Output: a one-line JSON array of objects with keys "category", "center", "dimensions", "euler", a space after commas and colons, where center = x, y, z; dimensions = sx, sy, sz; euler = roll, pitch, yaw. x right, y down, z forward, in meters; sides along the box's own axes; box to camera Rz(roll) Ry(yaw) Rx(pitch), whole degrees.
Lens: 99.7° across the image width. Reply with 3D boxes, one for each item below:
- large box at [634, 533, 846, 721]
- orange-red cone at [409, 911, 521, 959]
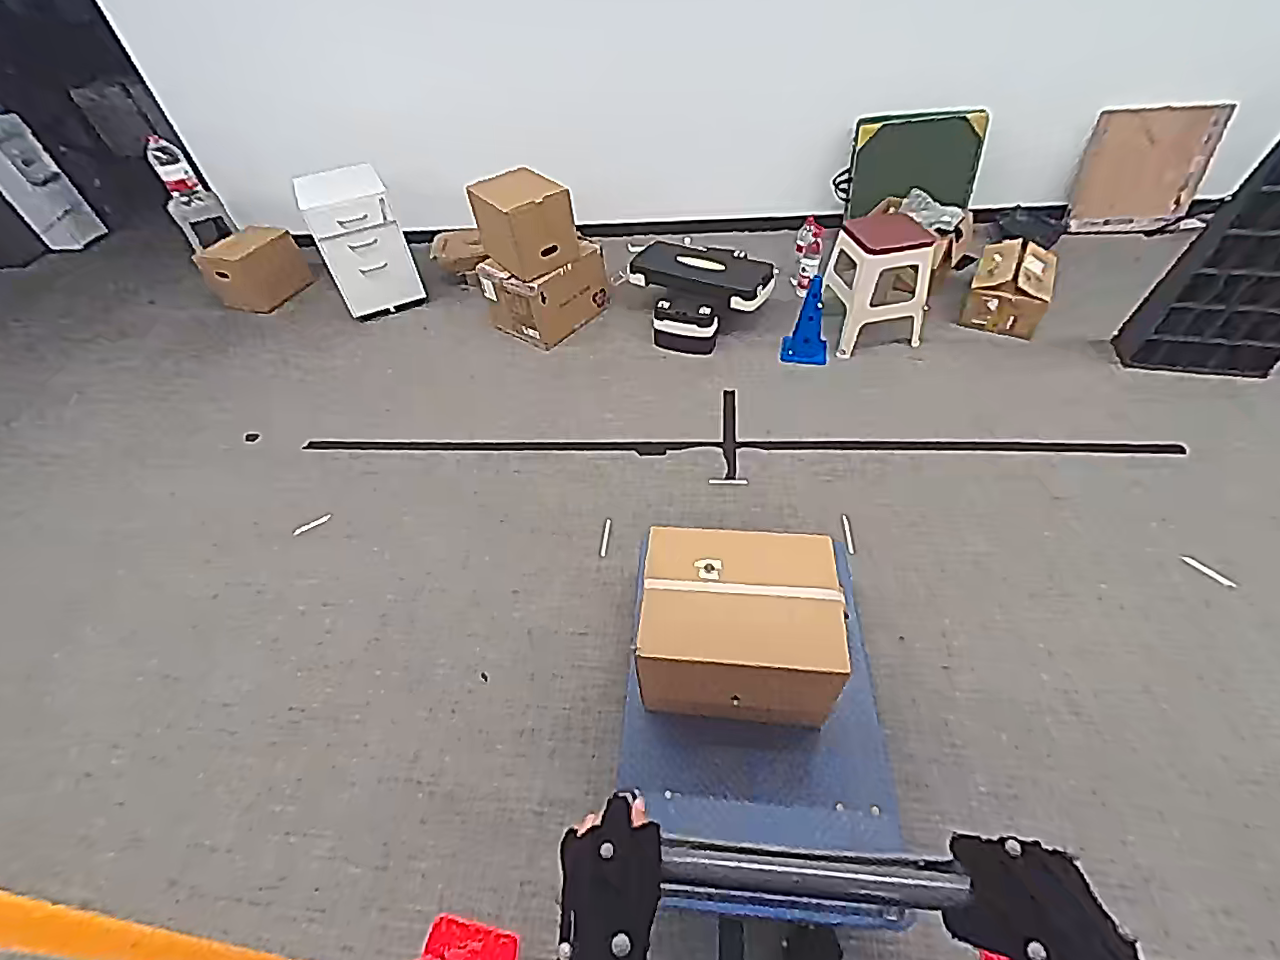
[{"category": "large box", "center": [0.215, 0.336, 1.232], "dimensions": [0.408, 0.320, 0.320], "euler": [1, 49, 8]}, {"category": "orange-red cone", "center": [-0.369, 0.901, 0.973], "dimensions": [0.198, 0.360, 0.199], "euler": [7, 47, 11]}]
